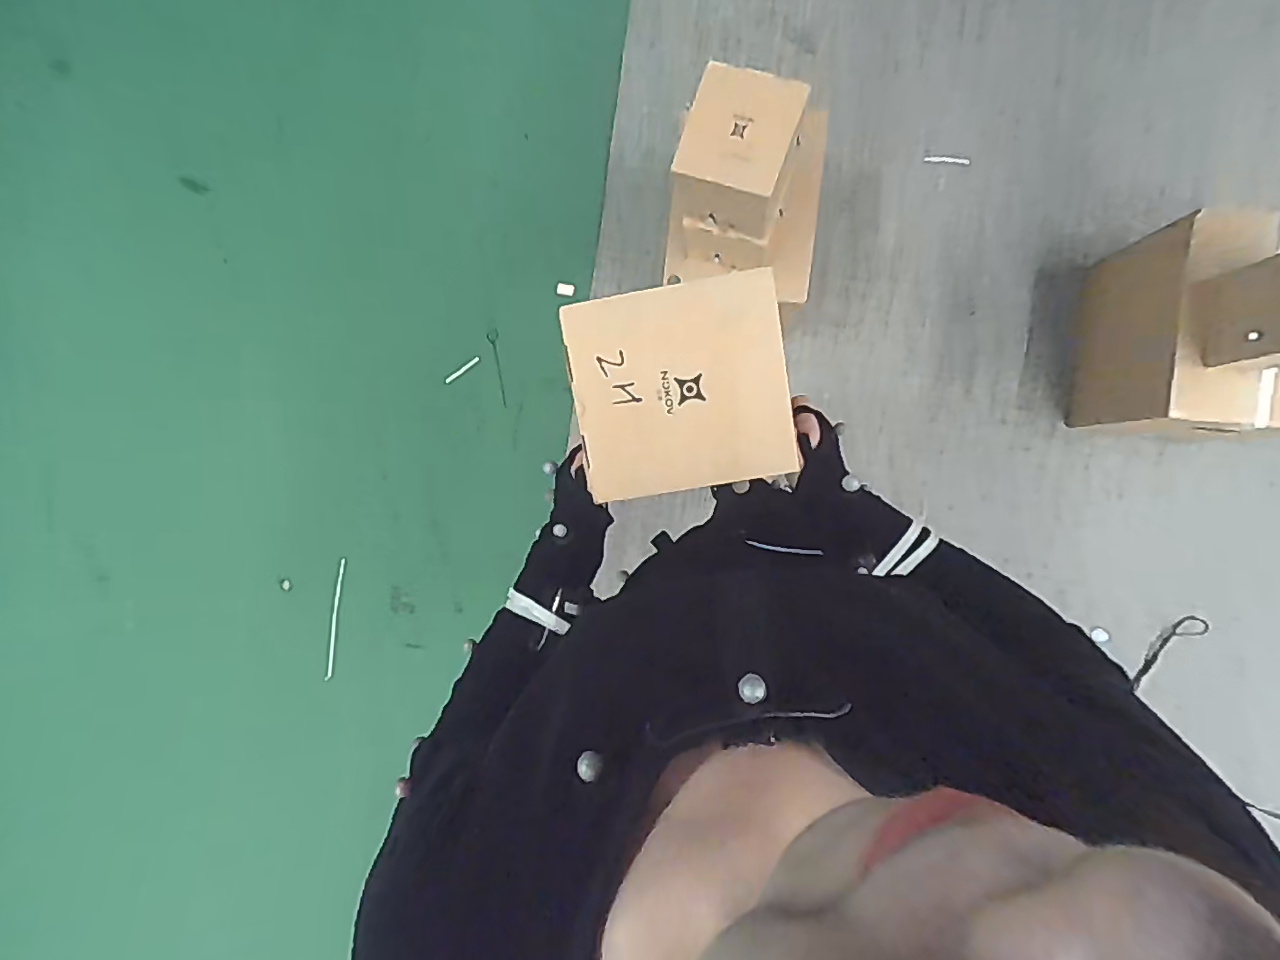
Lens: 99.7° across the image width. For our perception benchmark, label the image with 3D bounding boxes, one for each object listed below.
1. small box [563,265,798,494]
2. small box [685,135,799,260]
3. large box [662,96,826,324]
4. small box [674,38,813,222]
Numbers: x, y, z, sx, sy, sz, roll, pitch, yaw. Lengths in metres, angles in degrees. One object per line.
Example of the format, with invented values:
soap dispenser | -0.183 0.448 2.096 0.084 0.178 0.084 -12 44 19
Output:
small box | 0.037 -0.092 0.520 0.179 0.176 0.168 -9 98 5
small box | 0.195 -0.564 1.063 0.168 0.176 0.179 18 94 8
large box | 0.241 -0.620 1.301 0.320 0.320 0.408 7 91 8
small box | 0.167 -0.570 0.902 0.168 0.176 0.179 22 95 8
